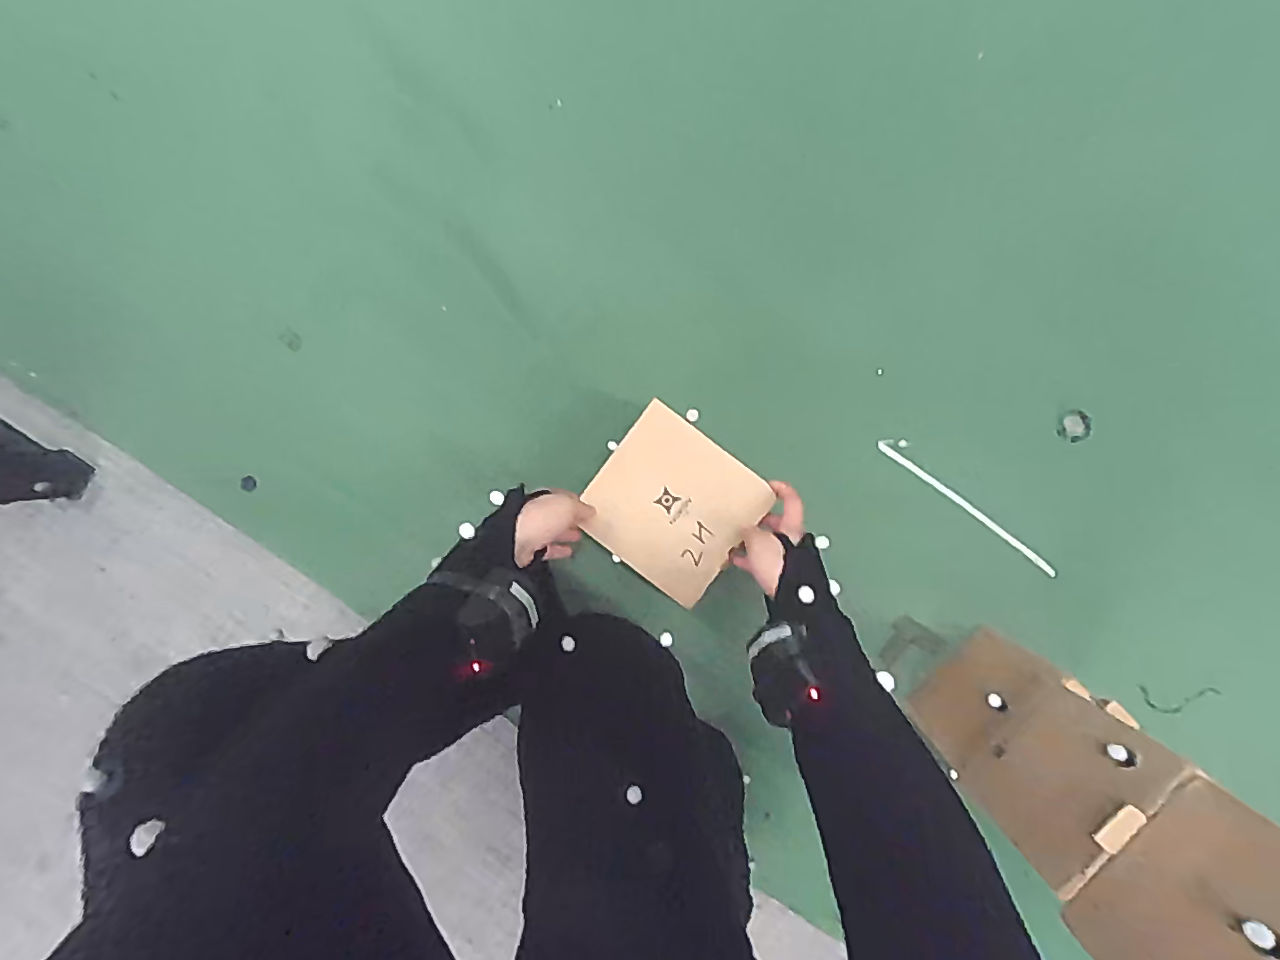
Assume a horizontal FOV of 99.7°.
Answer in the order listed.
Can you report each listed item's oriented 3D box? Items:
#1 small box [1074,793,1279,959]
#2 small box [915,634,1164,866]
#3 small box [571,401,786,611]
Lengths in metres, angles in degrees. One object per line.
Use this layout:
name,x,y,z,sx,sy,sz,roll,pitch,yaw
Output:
small box,0.482,0.378,0.390,0.168,0.176,0.179,39,94,-4
small box,0.501,0.342,0.717,0.168,0.176,0.179,43,95,-3
small box,0.044,0.024,0.662,0.179,0.176,0.168,38,97,-2
